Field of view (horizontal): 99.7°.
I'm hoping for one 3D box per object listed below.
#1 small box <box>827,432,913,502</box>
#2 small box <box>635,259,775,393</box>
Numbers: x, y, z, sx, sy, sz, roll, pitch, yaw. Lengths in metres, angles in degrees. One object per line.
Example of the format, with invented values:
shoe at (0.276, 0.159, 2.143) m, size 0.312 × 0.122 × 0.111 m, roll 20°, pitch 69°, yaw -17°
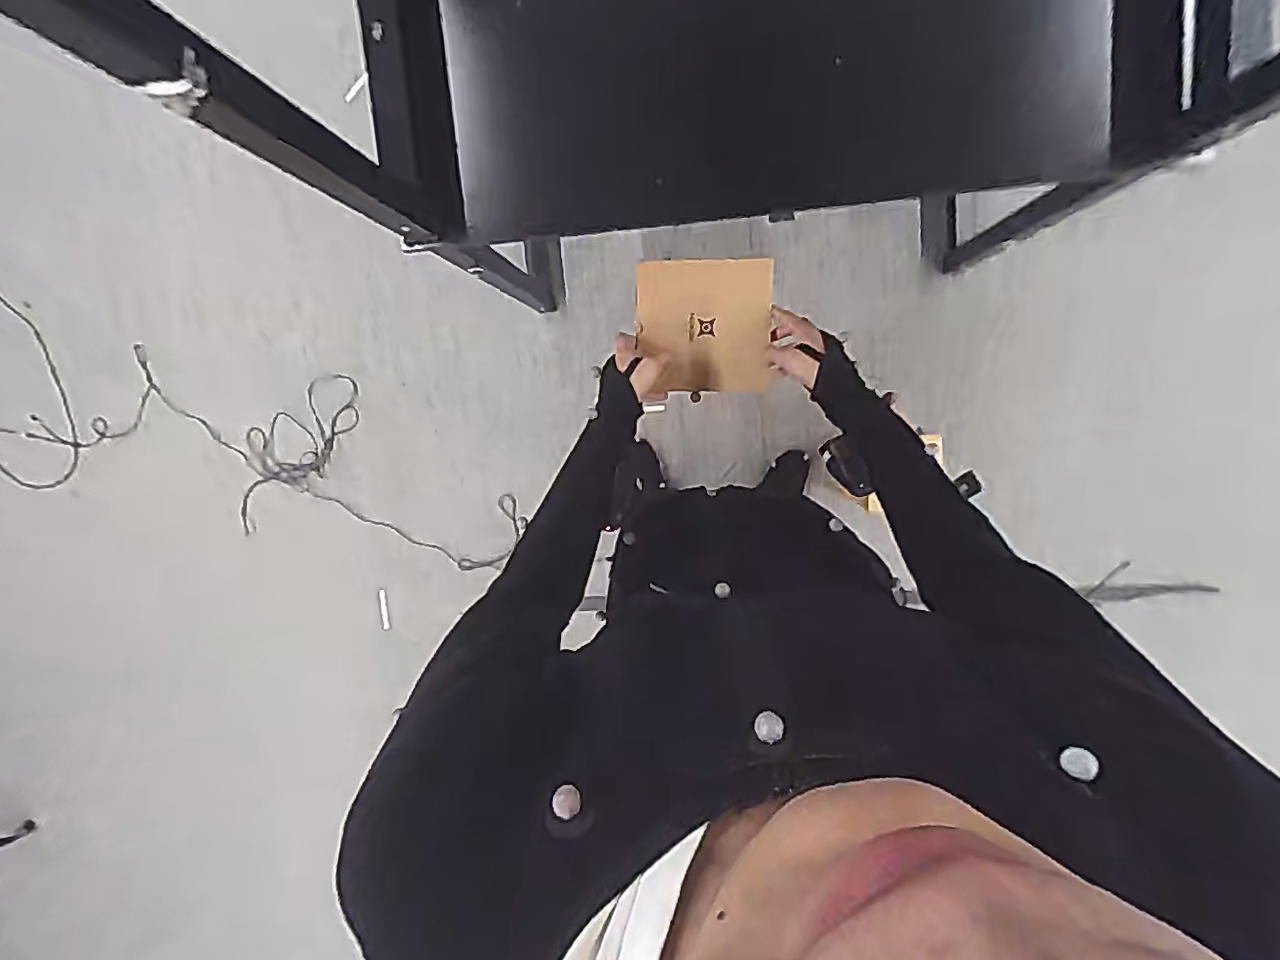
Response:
small box at (0.626, -0.040, 1.482) m, size 0.179 × 0.176 × 0.168 m, roll -5°, pitch 97°, yaw 8°
small box at (0.087, -0.212, 0.765) m, size 0.179 × 0.176 × 0.168 m, roll 0°, pitch 102°, yaw 6°
